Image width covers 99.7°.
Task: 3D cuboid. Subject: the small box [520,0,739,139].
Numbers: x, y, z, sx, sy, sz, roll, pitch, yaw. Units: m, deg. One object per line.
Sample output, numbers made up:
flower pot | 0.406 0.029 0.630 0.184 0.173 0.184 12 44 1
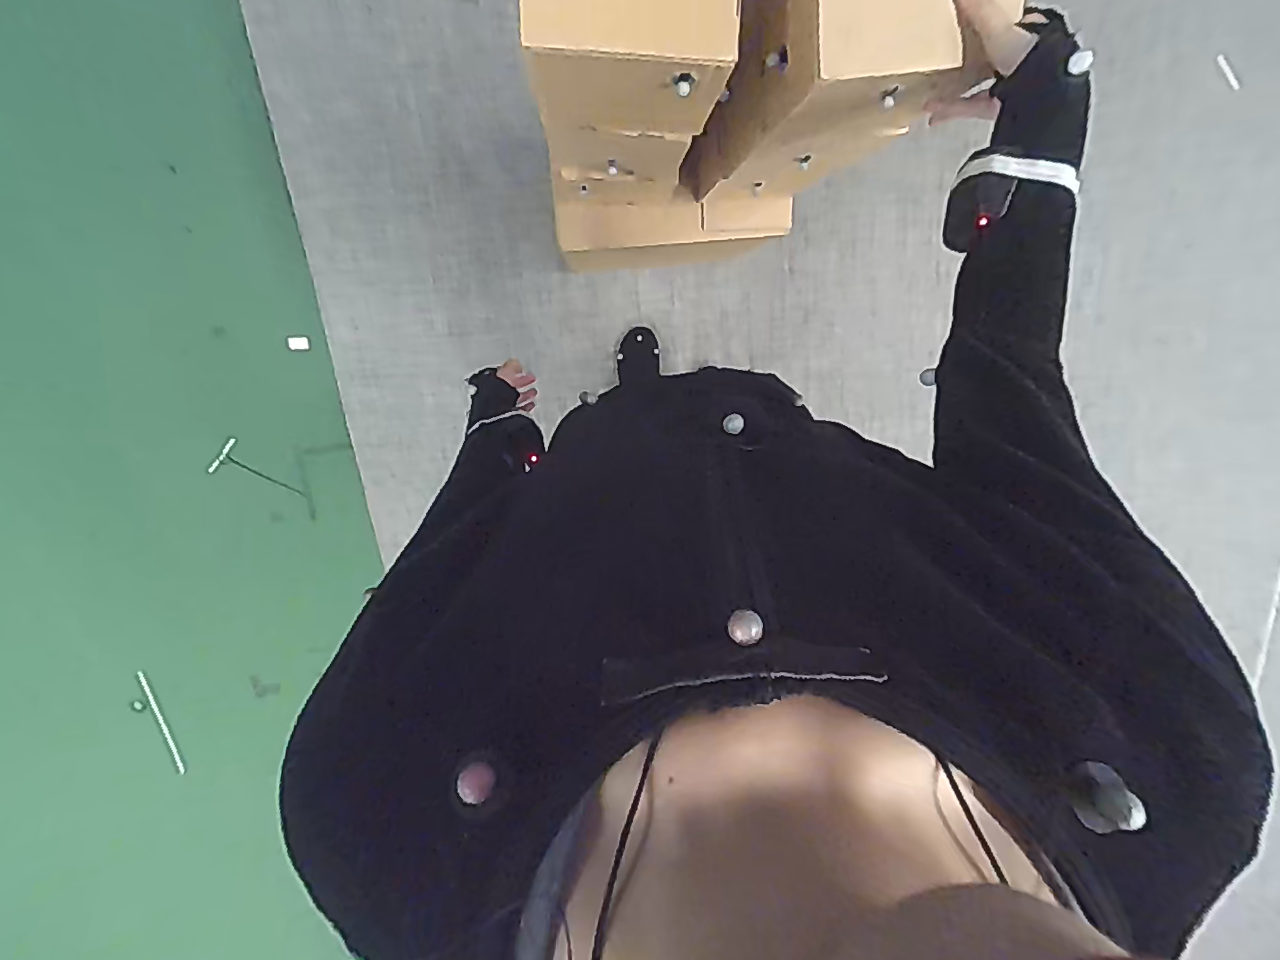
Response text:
small box | -0.011 -0.434 0.495 0.179 0.176 0.168 0 105 -5
